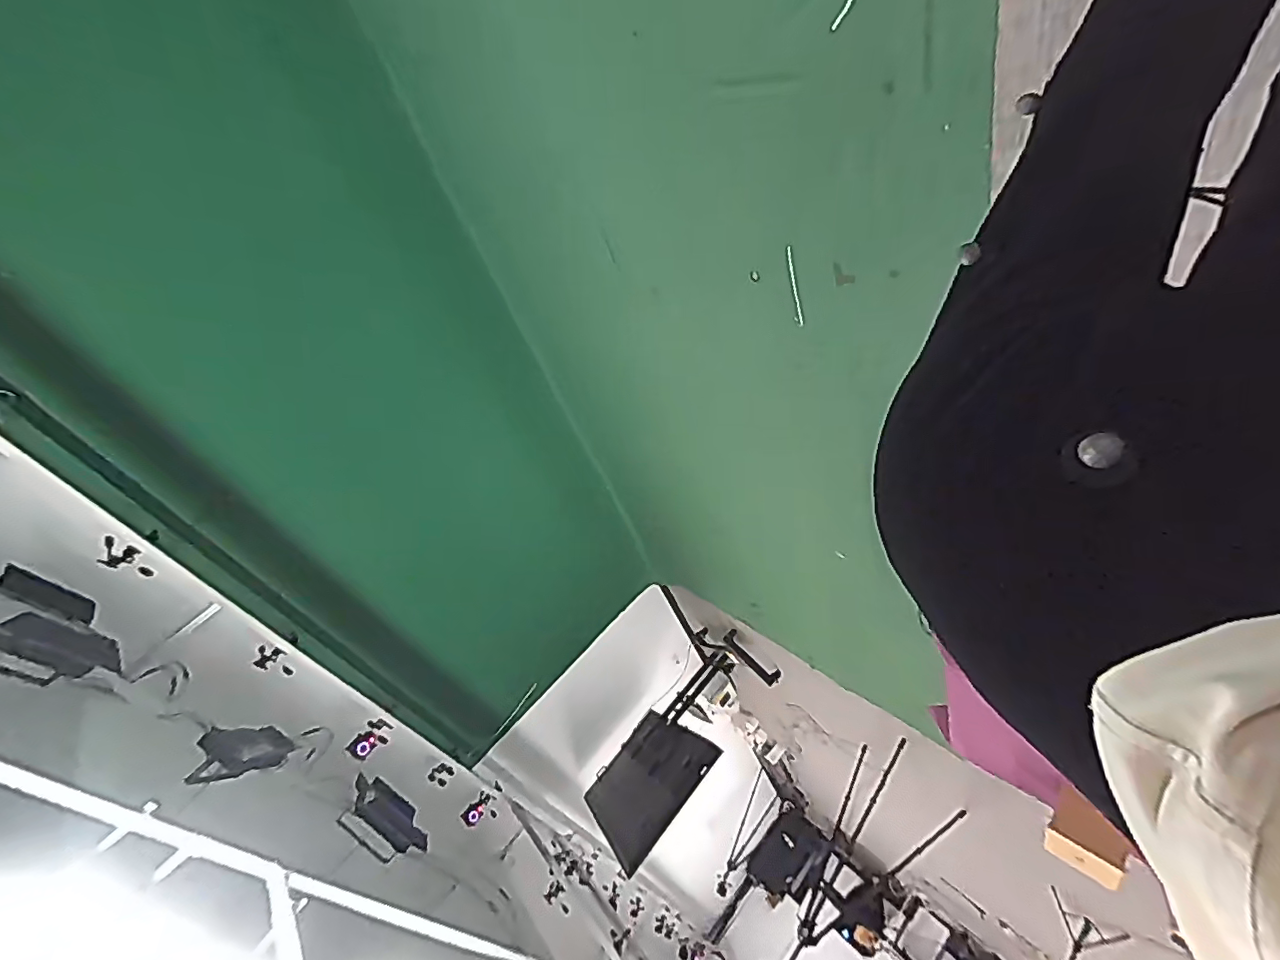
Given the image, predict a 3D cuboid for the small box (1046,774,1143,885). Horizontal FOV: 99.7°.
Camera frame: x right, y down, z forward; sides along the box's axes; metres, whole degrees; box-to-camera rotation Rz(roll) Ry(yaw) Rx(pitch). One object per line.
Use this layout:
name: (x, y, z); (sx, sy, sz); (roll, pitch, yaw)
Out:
small box: (1.264, 0.968, 1.507); (0.168, 0.176, 0.179); (21, 146, 47)

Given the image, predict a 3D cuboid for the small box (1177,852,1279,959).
small box: (1.446, 1.046, 1.301); (0.168, 0.176, 0.179); (22, 149, 47)
